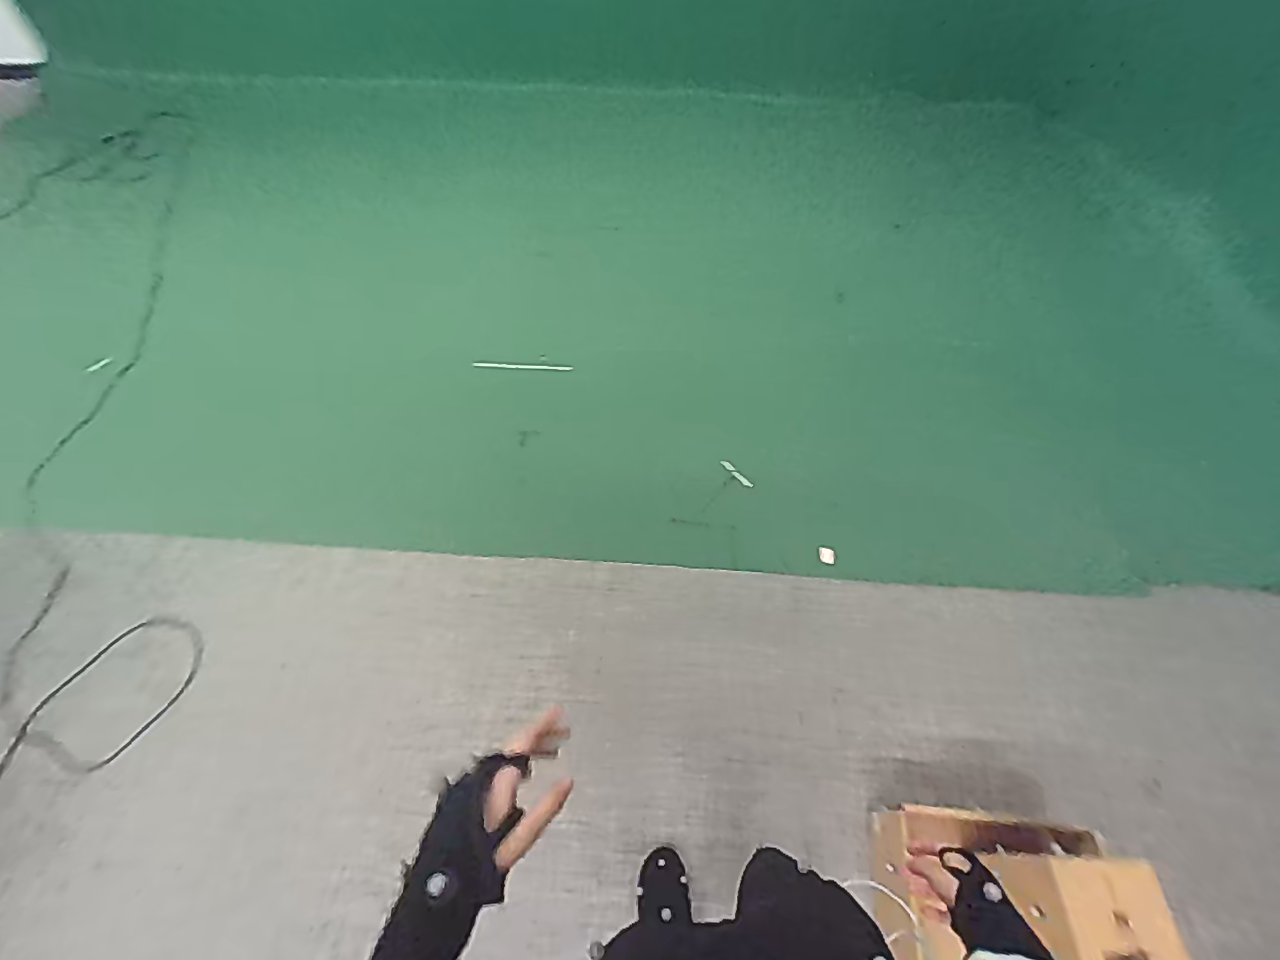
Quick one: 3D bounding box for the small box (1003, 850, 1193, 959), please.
[{"bbox_3d":[0.755,0.732,0.905,0.168,0.176,0.179,1,57,3],"label":"small box"}]
